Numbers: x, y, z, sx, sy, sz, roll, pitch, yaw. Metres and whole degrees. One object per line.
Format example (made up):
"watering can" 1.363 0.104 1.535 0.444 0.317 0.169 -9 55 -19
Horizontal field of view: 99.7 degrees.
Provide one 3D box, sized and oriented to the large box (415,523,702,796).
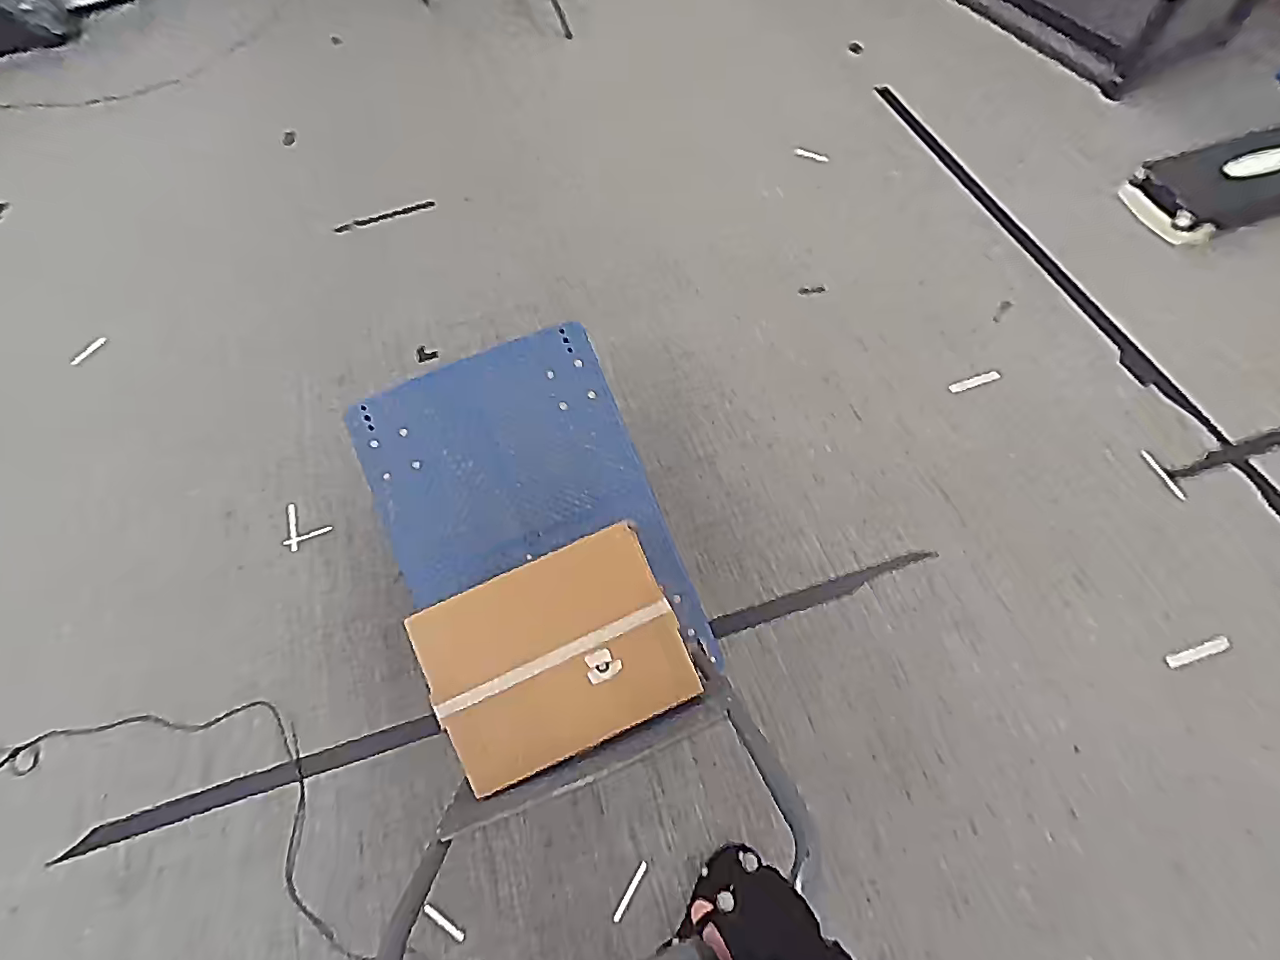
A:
"large box" -0.143 0.312 1.050 0.408 0.320 0.320 -25 86 -6
